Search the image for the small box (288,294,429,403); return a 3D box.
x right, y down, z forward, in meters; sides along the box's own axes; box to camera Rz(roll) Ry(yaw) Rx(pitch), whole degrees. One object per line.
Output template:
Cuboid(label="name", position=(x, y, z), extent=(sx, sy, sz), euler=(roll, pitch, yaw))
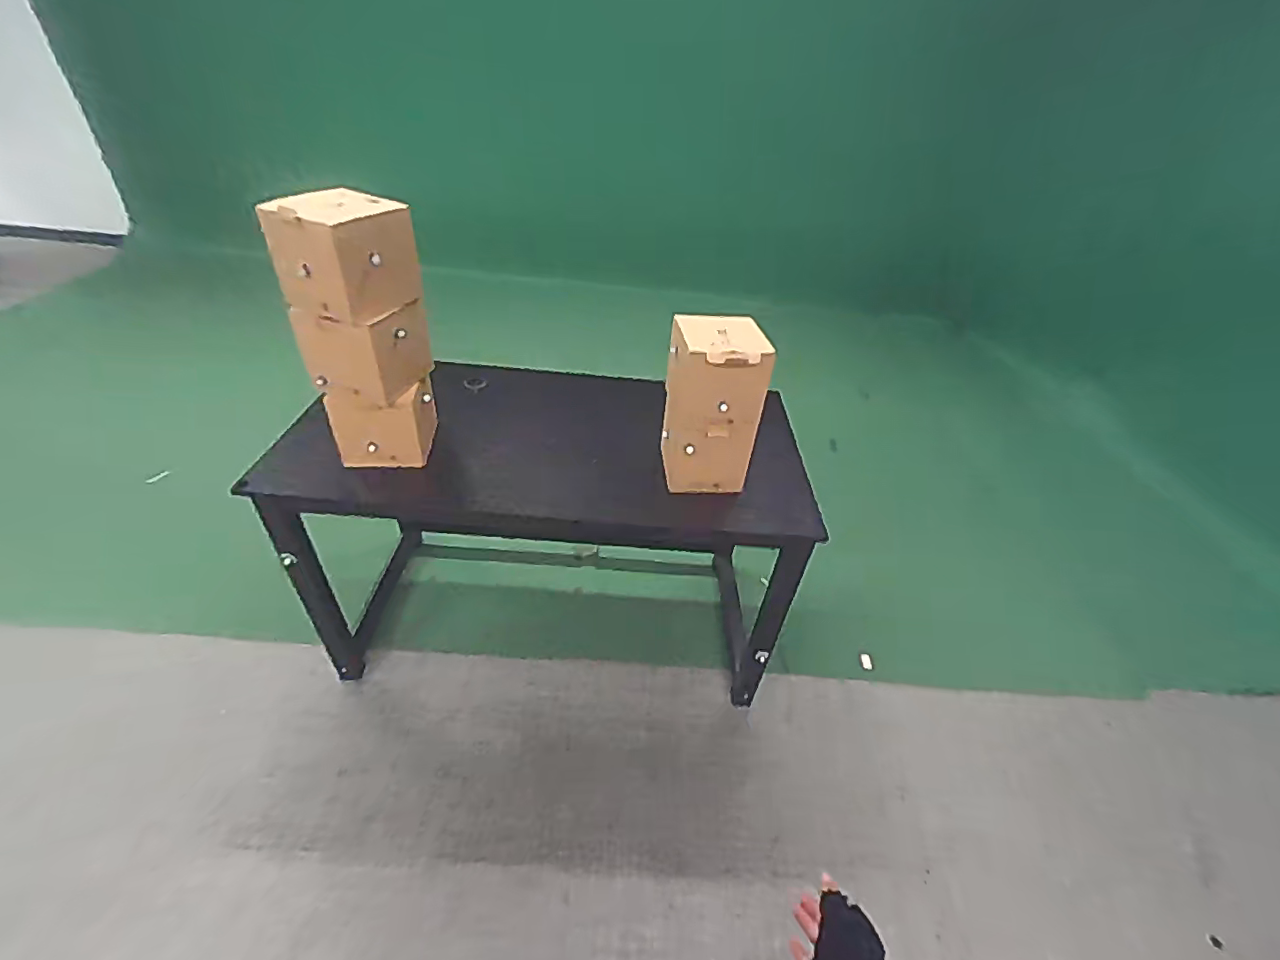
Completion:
Cuboid(label="small box", position=(-0.542, -0.274, 1.074), extent=(0.168, 0.176, 0.179), euler=(14, 40, 7))

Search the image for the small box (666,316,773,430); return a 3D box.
Cuboid(label="small box", position=(0.151, -0.218, 1.099), extent=(0.168, 0.176, 0.179), euler=(-1, 39, -8))

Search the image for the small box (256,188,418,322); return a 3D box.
Cuboid(label="small box", position=(-0.529, -0.405, 0.975), extent=(0.168, 0.176, 0.179), euler=(21, 43, 15))

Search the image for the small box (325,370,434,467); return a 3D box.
Cuboid(label="small box", position=(-0.554, -0.147, 1.179), extent=(0.168, 0.176, 0.179), euler=(0, 41, -9))
